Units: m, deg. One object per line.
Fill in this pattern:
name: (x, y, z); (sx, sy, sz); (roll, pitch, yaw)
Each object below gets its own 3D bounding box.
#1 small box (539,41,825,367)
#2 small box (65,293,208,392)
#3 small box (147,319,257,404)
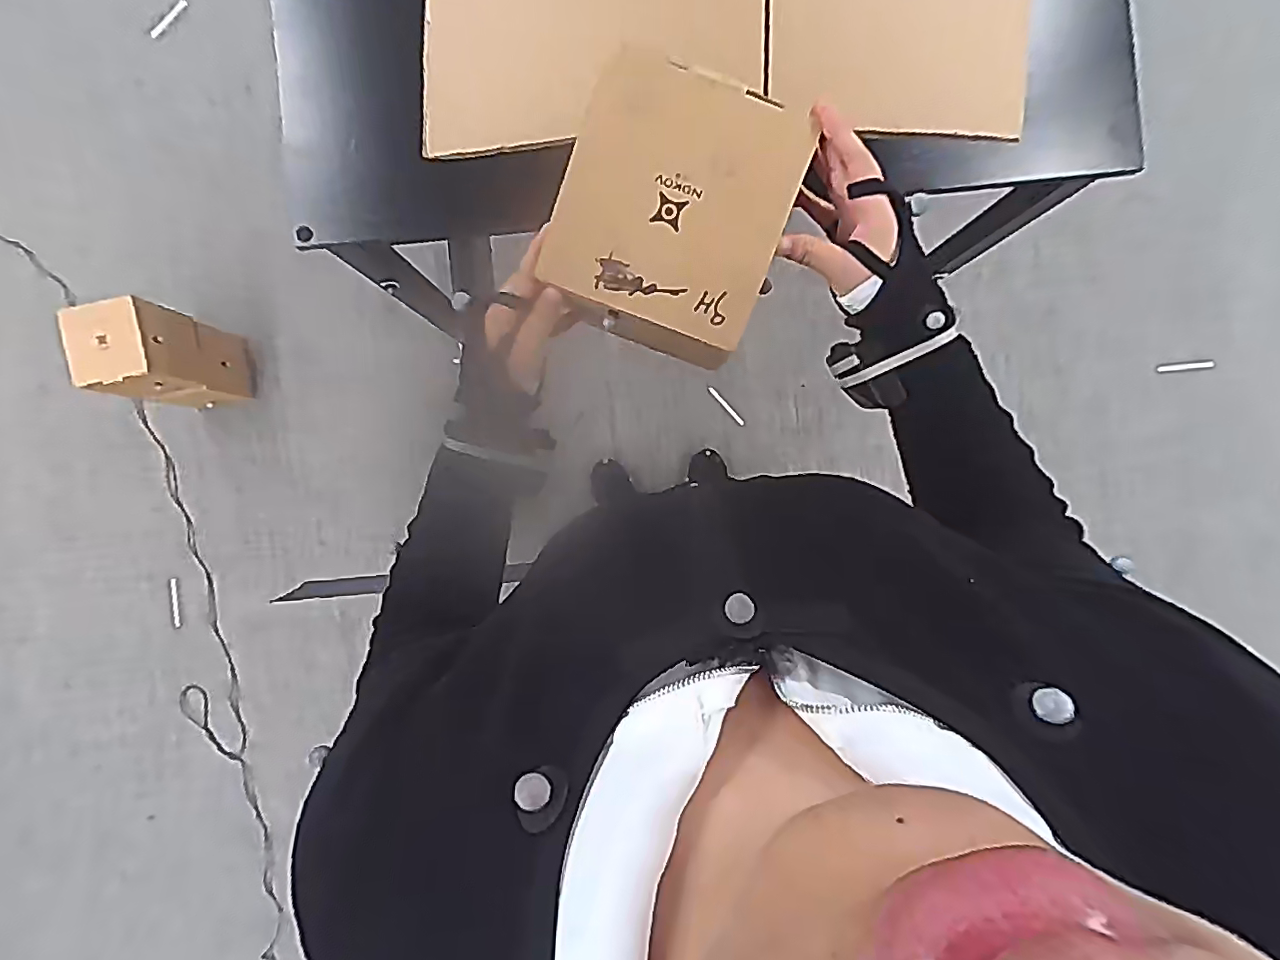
small box: (0.032, -0.215, 0.476); (0.168, 0.176, 0.179); (21, 96, 1)
small box: (-1.156, -0.308, 1.257); (0.168, 0.176, 0.179); (-12, 89, -1)
small box: (-1.154, -0.304, 1.420); (0.168, 0.176, 0.179); (-9, 91, 0)
